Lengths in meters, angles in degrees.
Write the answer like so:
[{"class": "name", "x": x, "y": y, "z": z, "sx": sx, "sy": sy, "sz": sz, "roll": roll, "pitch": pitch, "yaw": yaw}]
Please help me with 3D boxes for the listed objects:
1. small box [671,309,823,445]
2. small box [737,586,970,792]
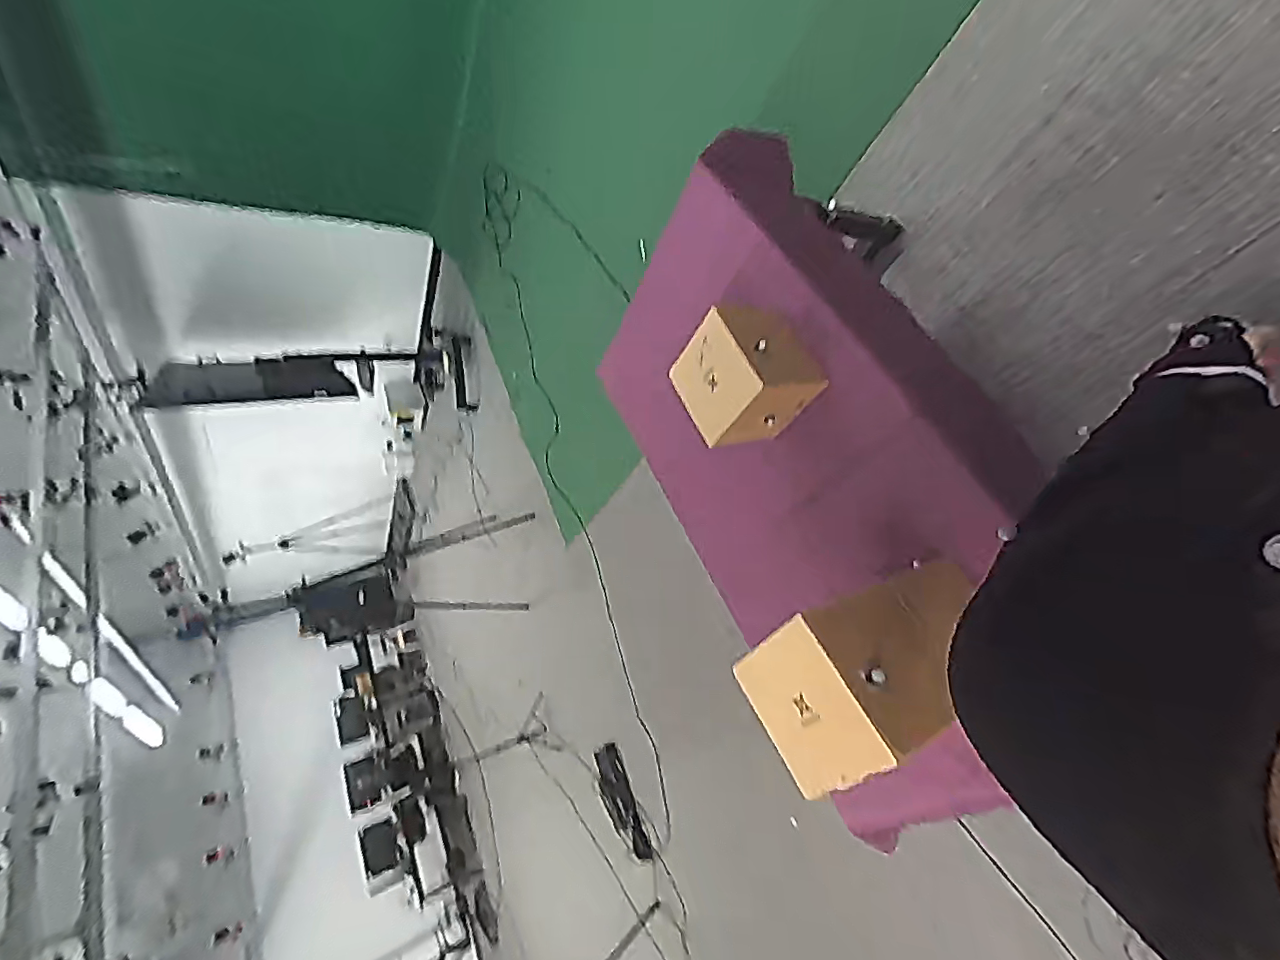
[{"class": "small box", "x": 0.191, "y": -0.186, "z": 0.969, "sx": 0.168, "sy": 0.176, "sz": 0.179, "roll": -51, "pitch": 57, "yaw": 47}, {"class": "small box", "x": 0.264, "y": 0.252, "z": 0.686, "sx": 0.179, "sy": 0.176, "sz": 0.168, "roll": 58, "pitch": 141, "yaw": 27}]
